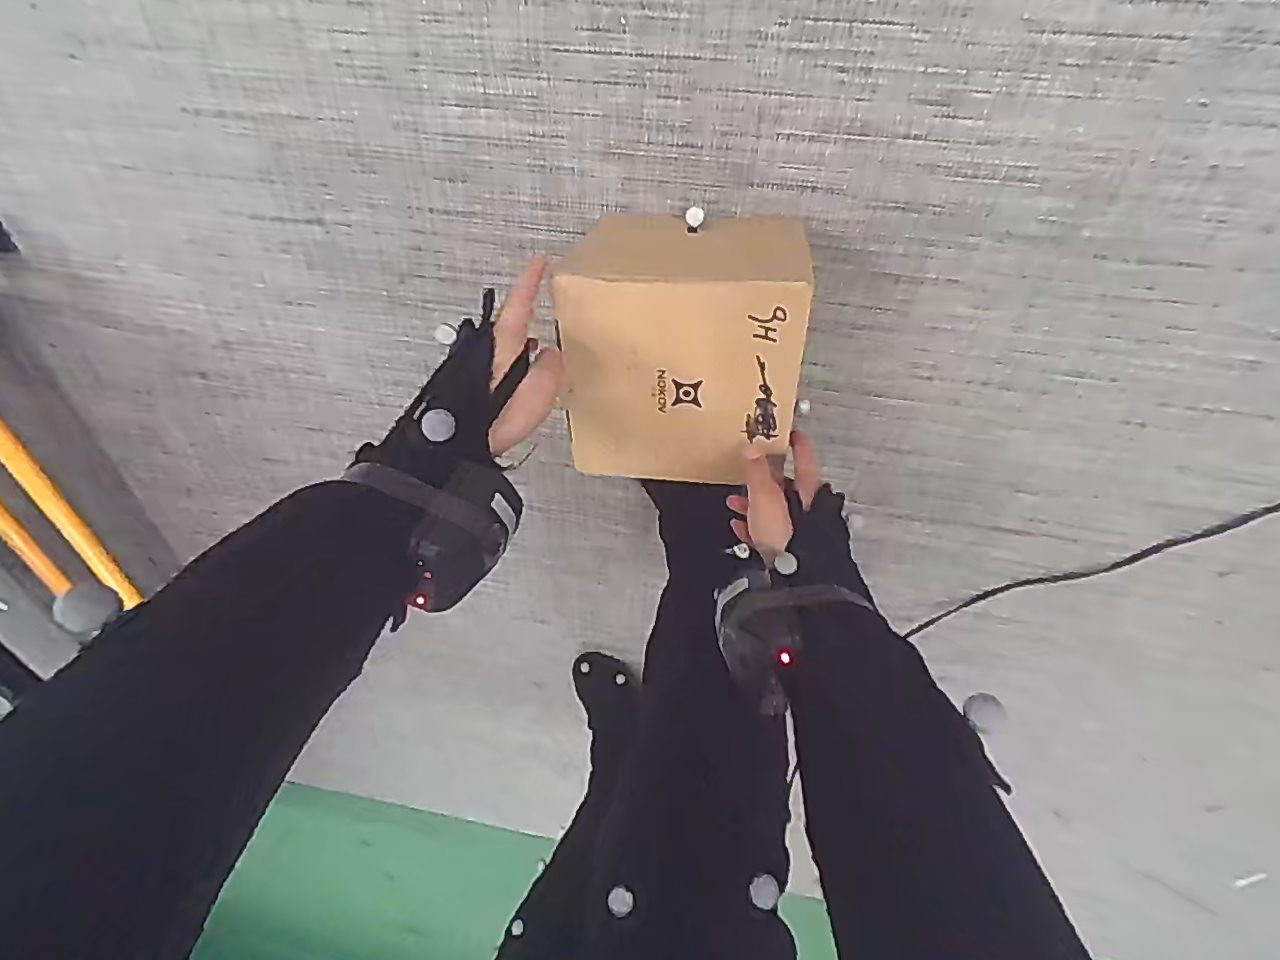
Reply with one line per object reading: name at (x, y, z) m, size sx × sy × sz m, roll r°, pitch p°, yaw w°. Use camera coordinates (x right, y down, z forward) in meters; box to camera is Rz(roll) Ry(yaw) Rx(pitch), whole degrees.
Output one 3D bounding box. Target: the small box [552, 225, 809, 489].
small box at (0.040, -0.114, 0.468) m, size 0.179 × 0.176 × 0.168 m, roll 5°, pitch 128°, yaw 10°
